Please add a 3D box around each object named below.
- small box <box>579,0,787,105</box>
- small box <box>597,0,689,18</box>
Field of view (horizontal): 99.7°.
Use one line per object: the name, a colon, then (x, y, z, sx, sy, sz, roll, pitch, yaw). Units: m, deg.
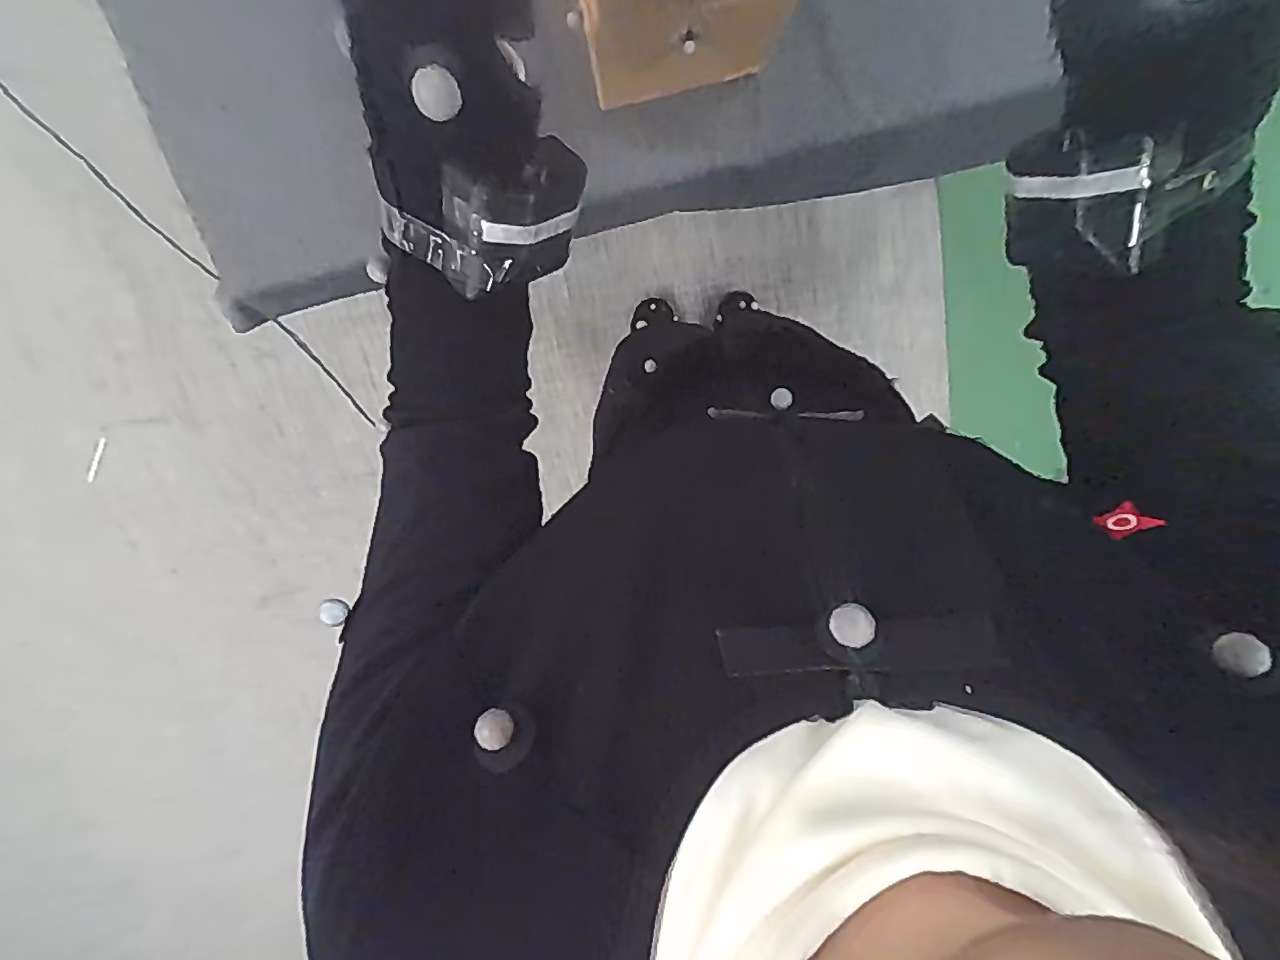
small box: (0.028, -0.460, 0.470, 0.179, 0.176, 0.168, -12, 108, 2)
small box: (0.029, -0.415, 0.313, 0.168, 0.176, 0.179, -14, 108, 4)
